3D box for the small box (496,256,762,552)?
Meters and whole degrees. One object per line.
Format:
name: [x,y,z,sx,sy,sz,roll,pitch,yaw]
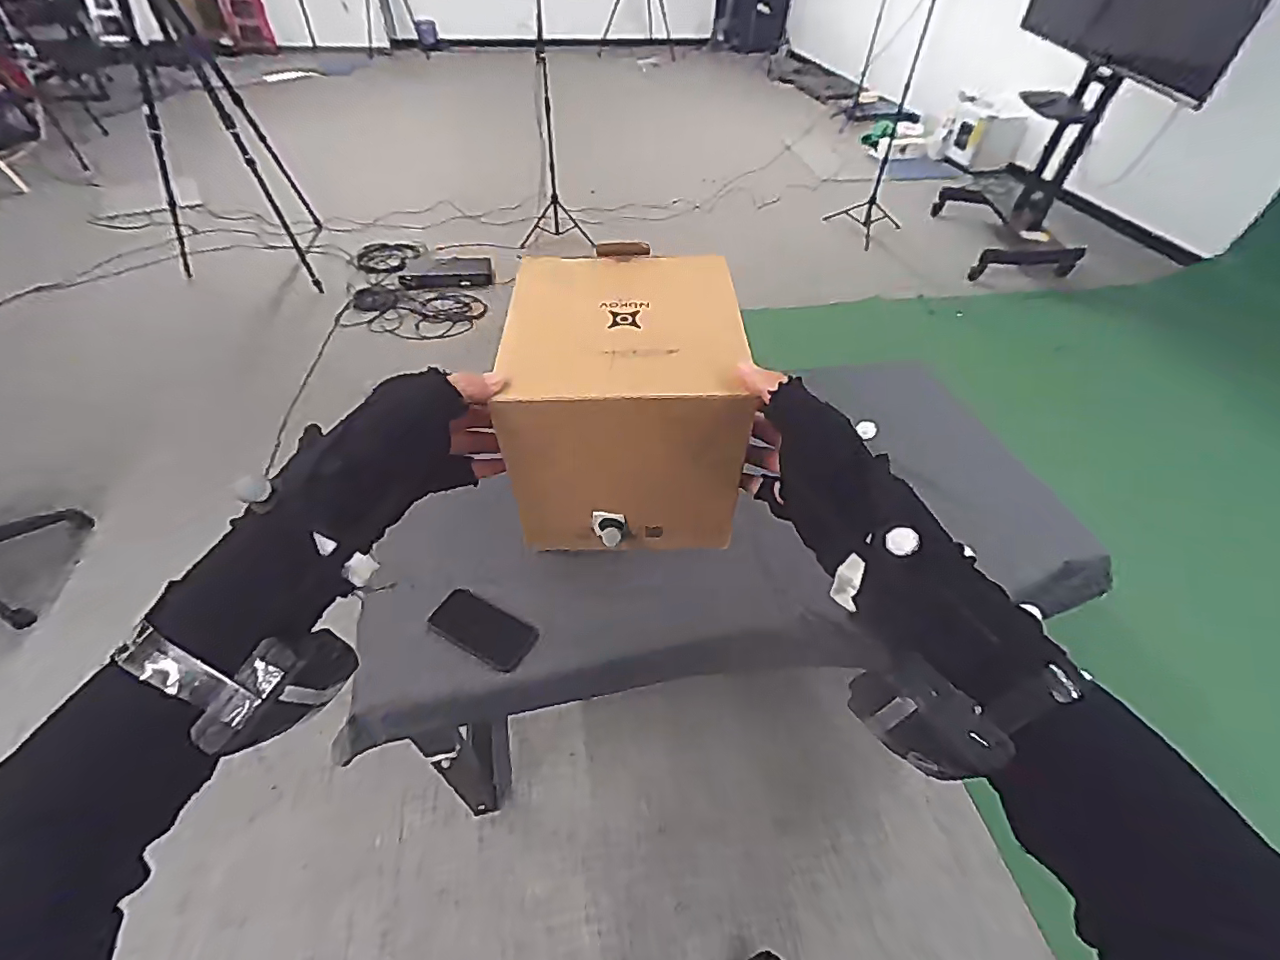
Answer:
small box: [-0.007,-0.060,0.441,0.168,0.176,0.179,0,51,0]
